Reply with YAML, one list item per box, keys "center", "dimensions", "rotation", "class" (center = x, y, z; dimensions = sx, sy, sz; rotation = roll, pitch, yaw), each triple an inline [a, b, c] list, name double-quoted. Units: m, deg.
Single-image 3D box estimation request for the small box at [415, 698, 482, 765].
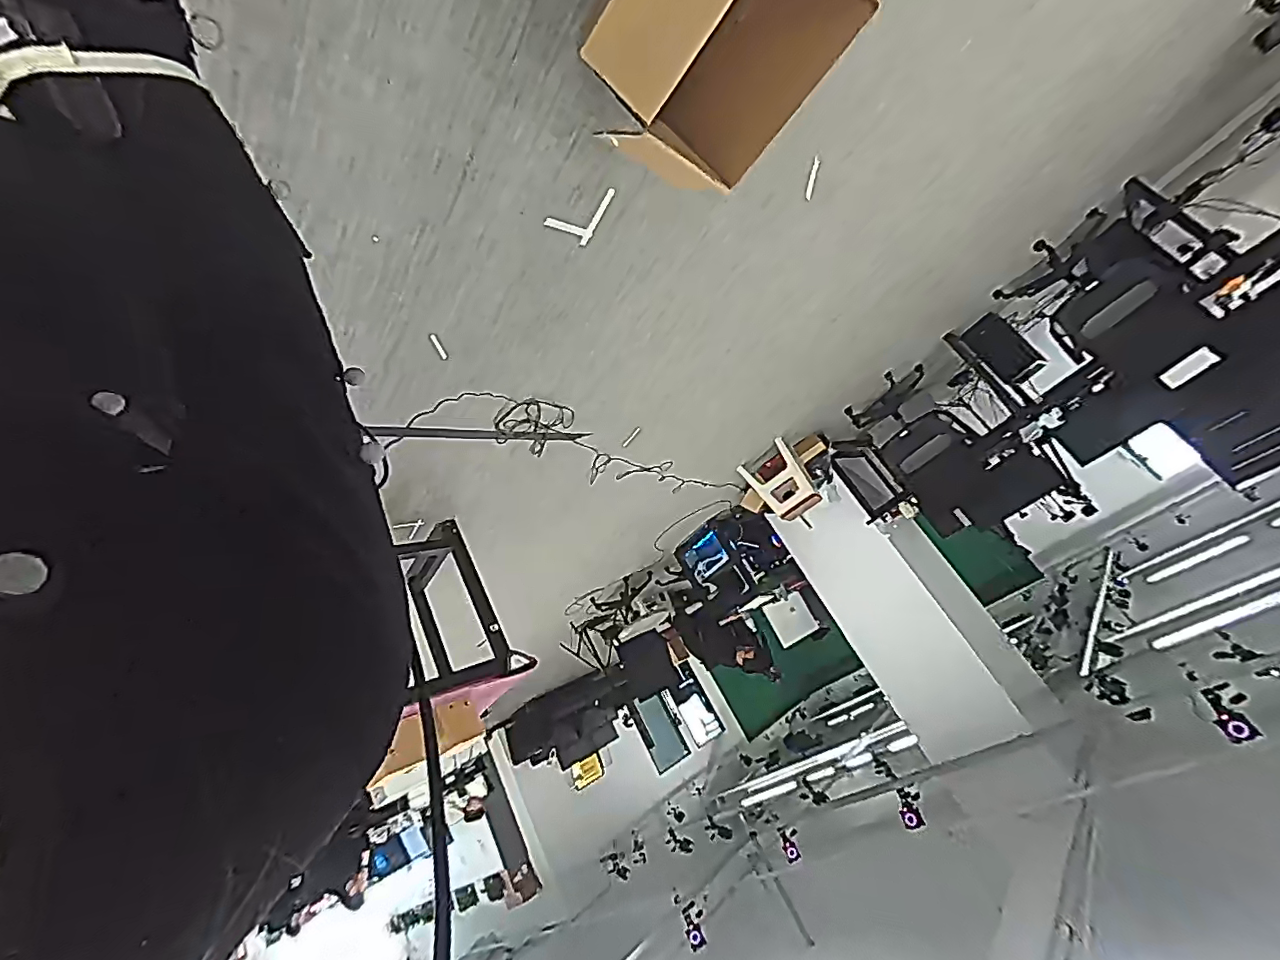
- center: [-0.768, 0.989, 2.148]
  dimensions: [0.179, 0.176, 0.168]
  rotation: [-44, 154, 29]
  class: "small box"
